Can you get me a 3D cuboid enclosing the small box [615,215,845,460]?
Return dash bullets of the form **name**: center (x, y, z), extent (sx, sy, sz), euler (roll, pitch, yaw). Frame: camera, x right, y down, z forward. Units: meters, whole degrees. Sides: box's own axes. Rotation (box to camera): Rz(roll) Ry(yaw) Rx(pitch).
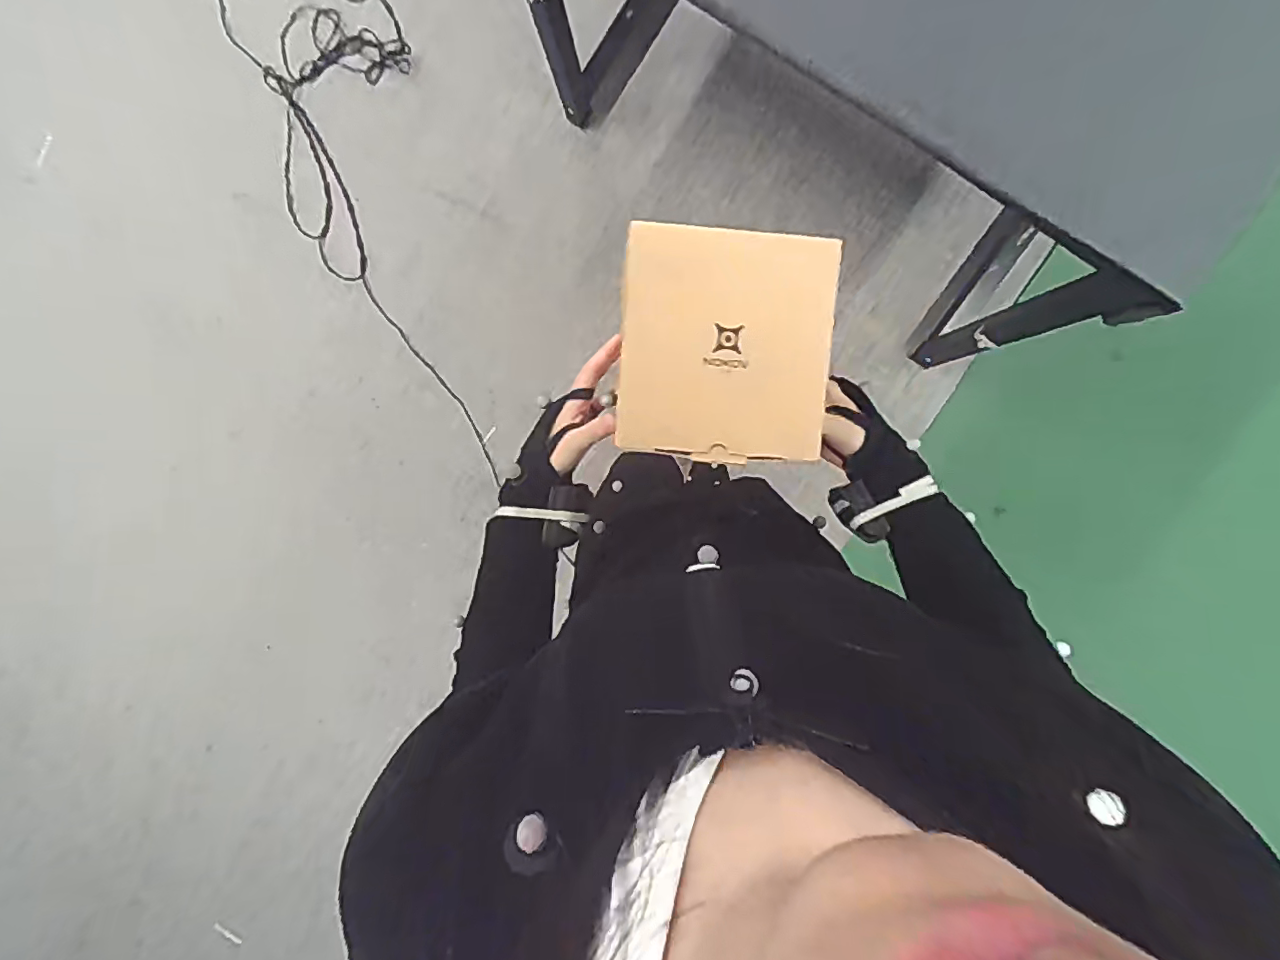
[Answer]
- **small box**: center (0.065, -0.111, 0.489), extent (0.168, 0.176, 0.179), euler (3, 95, -5)
